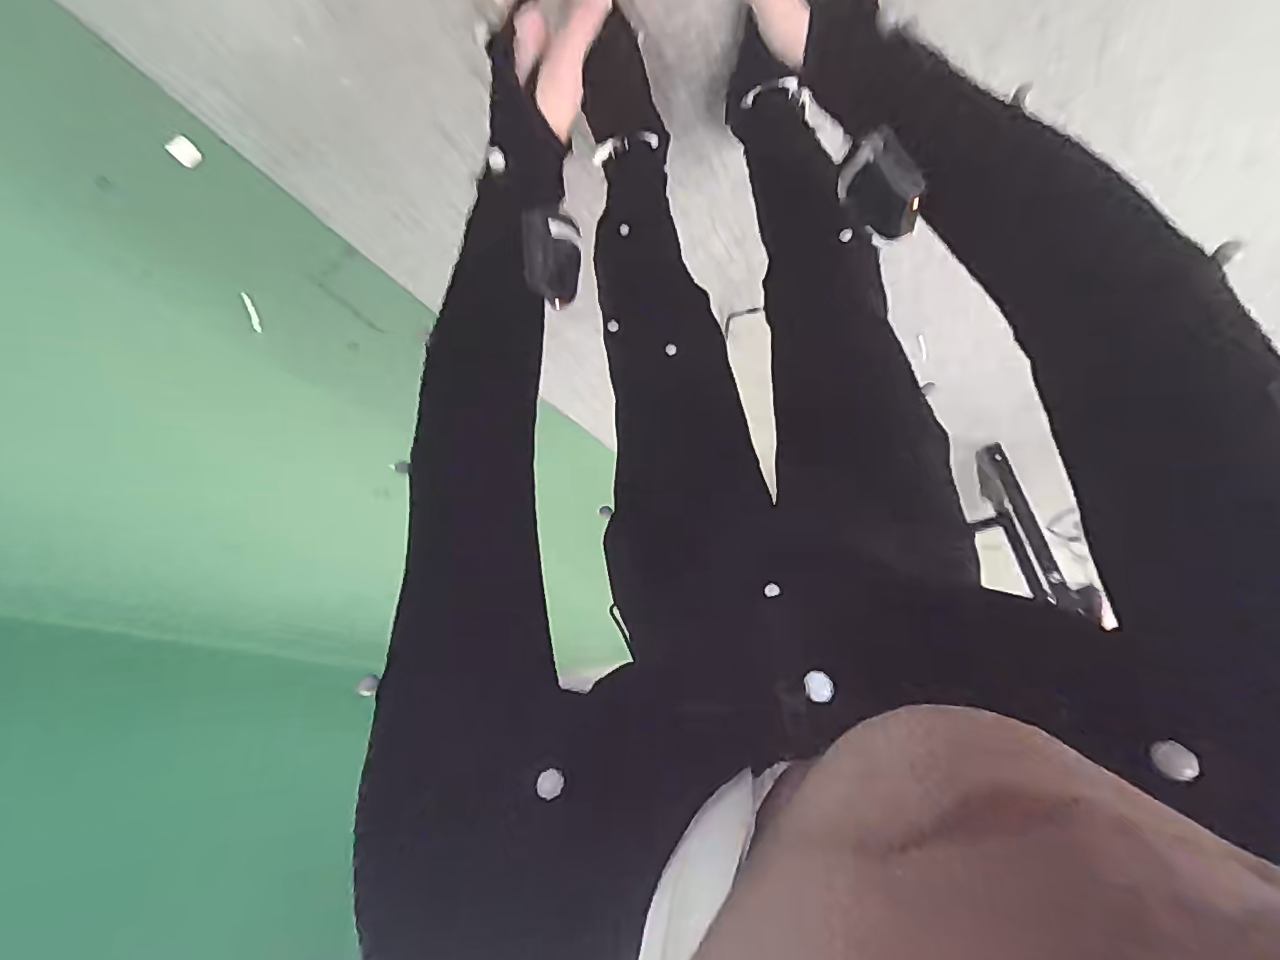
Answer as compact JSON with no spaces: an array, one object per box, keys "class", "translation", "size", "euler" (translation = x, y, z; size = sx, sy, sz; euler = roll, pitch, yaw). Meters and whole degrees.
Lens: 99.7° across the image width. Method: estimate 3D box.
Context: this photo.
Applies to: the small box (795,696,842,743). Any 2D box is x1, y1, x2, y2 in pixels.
[{"class":"small box","translation":[0.750,1.030,2.324],"size":[0.168,0.176,0.179],"euler":[-21,147,25]}]
